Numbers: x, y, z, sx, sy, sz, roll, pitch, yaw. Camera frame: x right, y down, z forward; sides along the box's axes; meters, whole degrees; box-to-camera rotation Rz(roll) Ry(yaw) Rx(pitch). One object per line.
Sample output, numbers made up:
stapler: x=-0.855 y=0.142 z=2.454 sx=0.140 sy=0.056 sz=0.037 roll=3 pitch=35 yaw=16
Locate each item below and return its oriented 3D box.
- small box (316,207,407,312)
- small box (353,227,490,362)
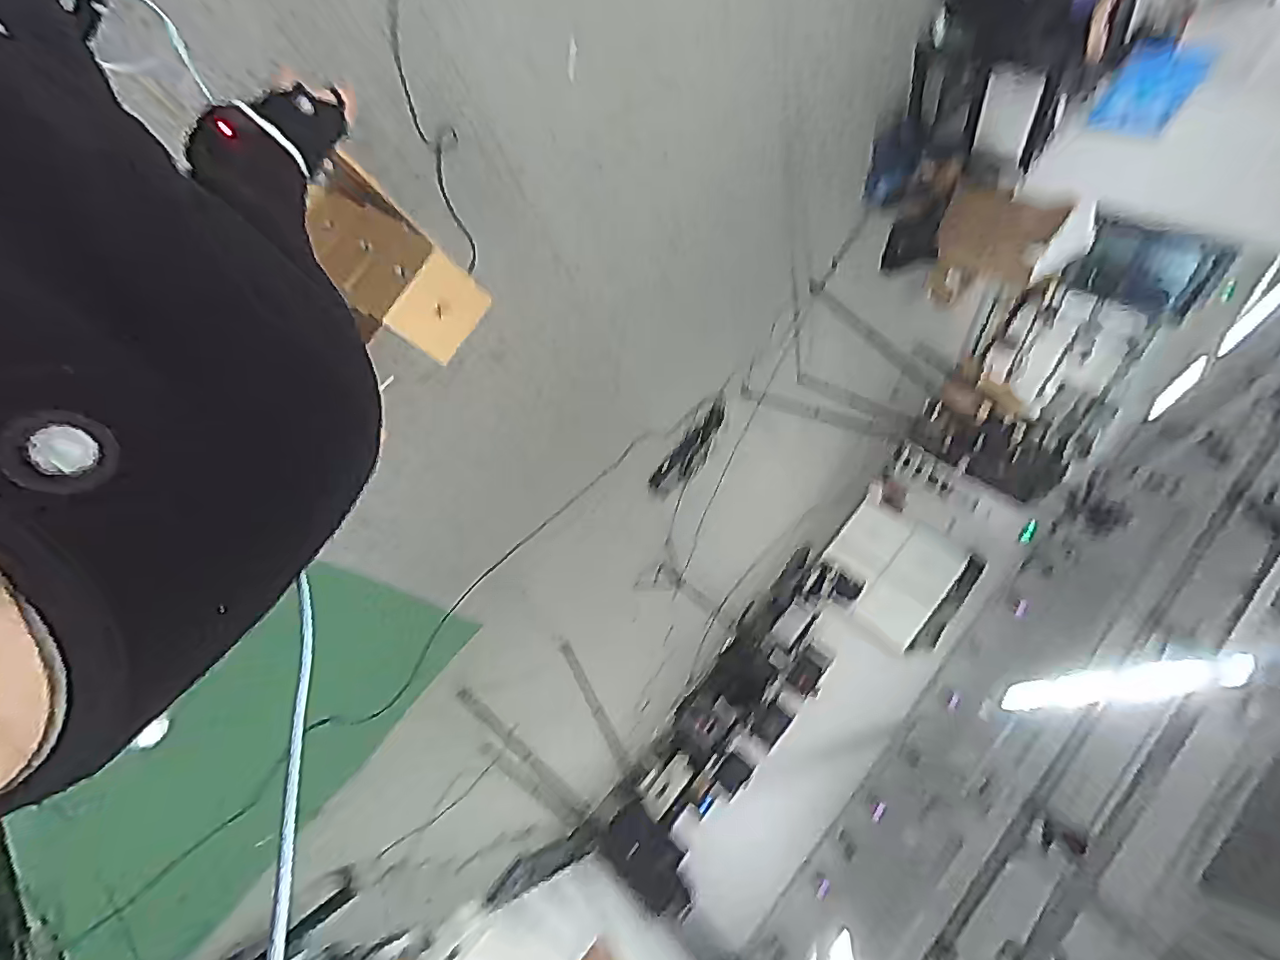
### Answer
small box: x=-0.564 y=-0.461 z=1.184 sx=0.179 sy=0.176 sz=0.168 roll=-51 pitch=149 yaw=-4
small box: x=-0.450 y=-0.379 z=1.104 sx=0.179 sy=0.176 sz=0.168 roll=-55 pitch=149 yaw=0
